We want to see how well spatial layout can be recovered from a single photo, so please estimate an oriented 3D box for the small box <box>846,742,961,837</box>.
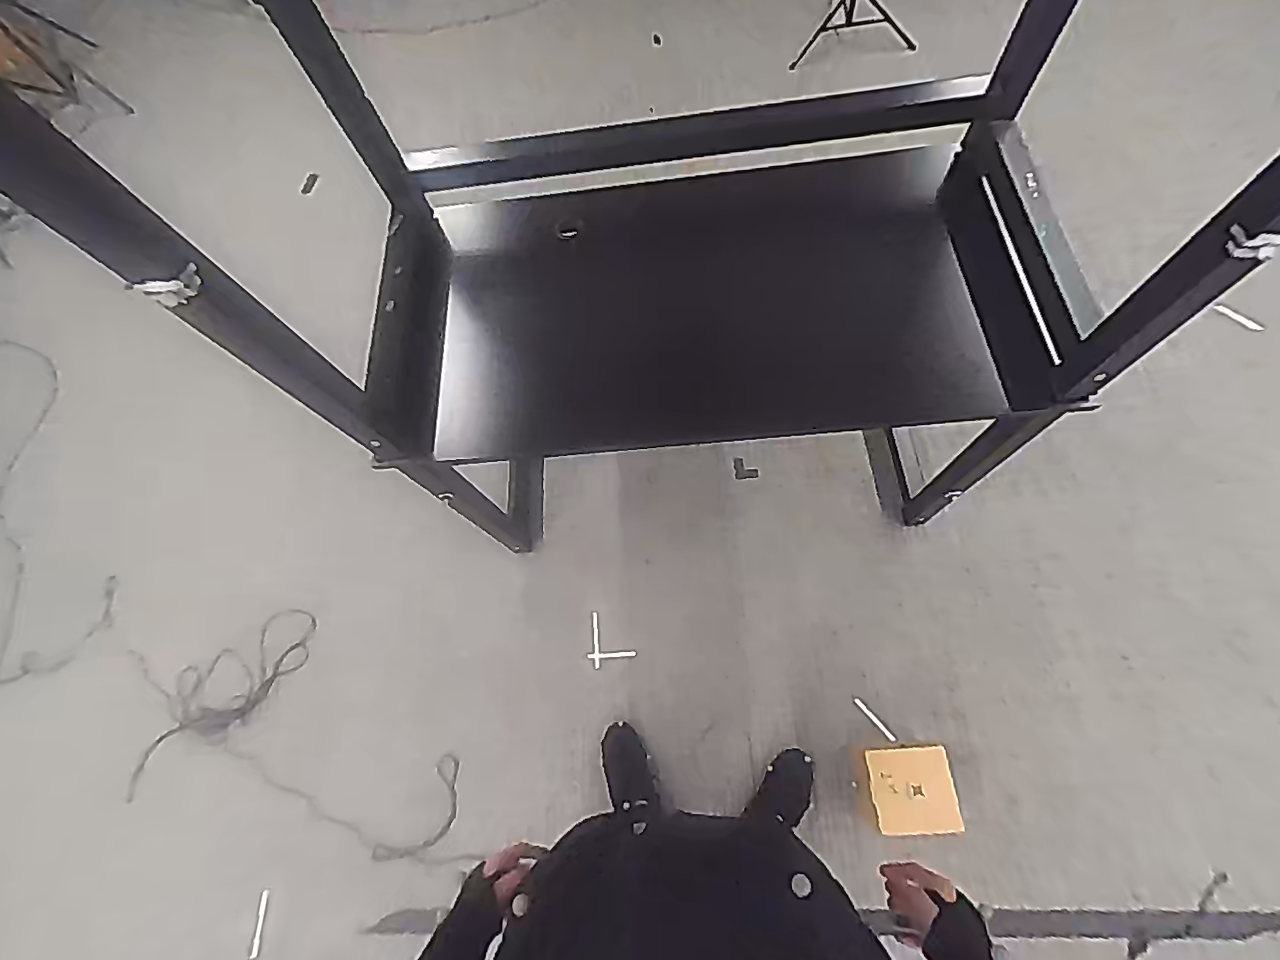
[{"bbox_3d":[0.593,0.701,1.241,0.179,0.176,0.168,-5,68,5],"label":"small box"}]
